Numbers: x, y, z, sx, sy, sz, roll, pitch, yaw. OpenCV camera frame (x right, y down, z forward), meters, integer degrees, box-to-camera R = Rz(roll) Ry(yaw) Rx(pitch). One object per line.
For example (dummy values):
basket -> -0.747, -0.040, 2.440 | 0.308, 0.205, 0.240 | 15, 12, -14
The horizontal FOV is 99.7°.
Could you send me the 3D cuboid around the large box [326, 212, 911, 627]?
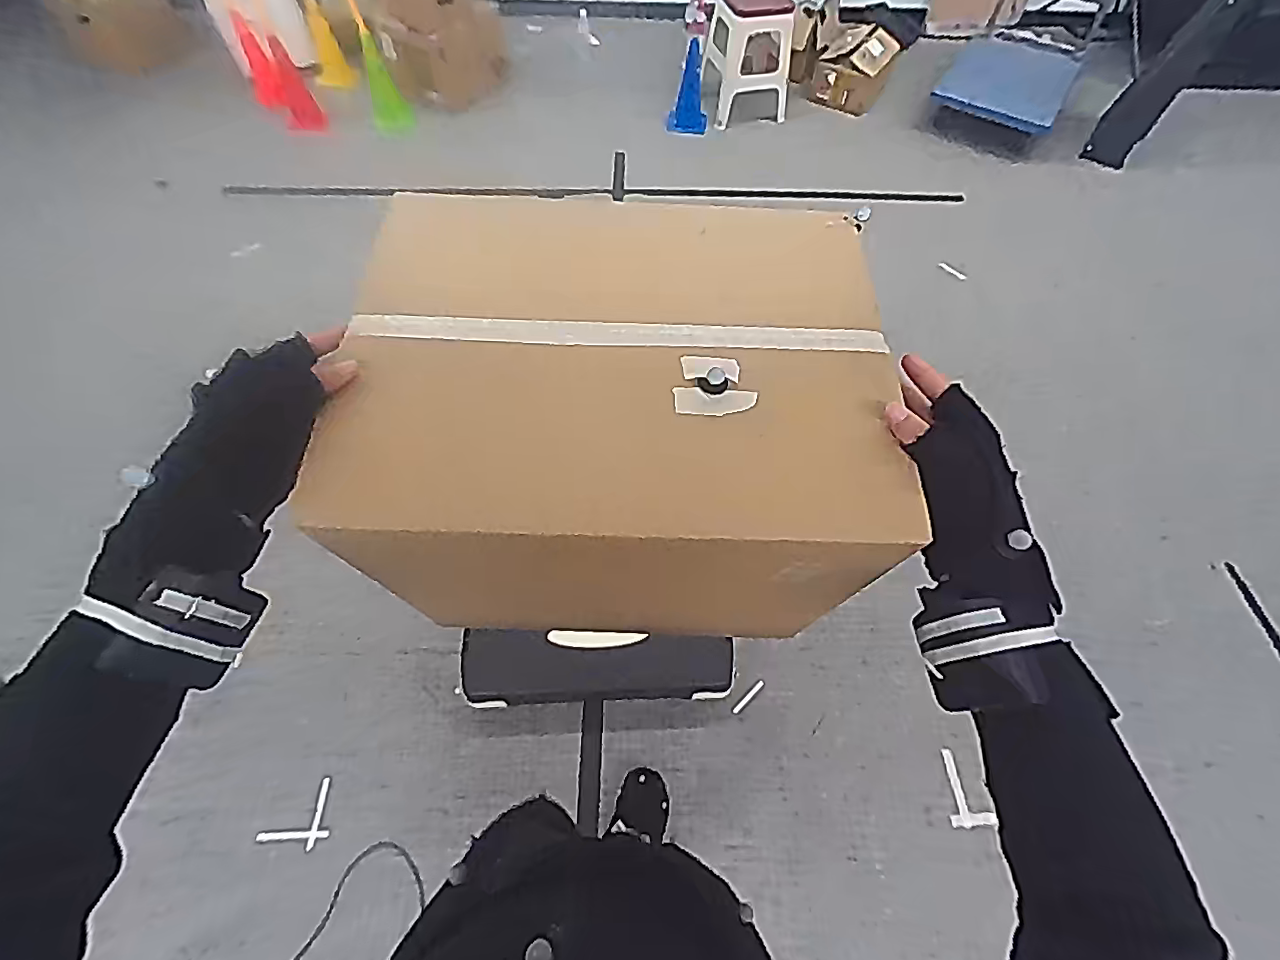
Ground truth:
large box -> -0.017, -0.035, 0.561 | 0.408, 0.320, 0.320 | 2, 64, -2
